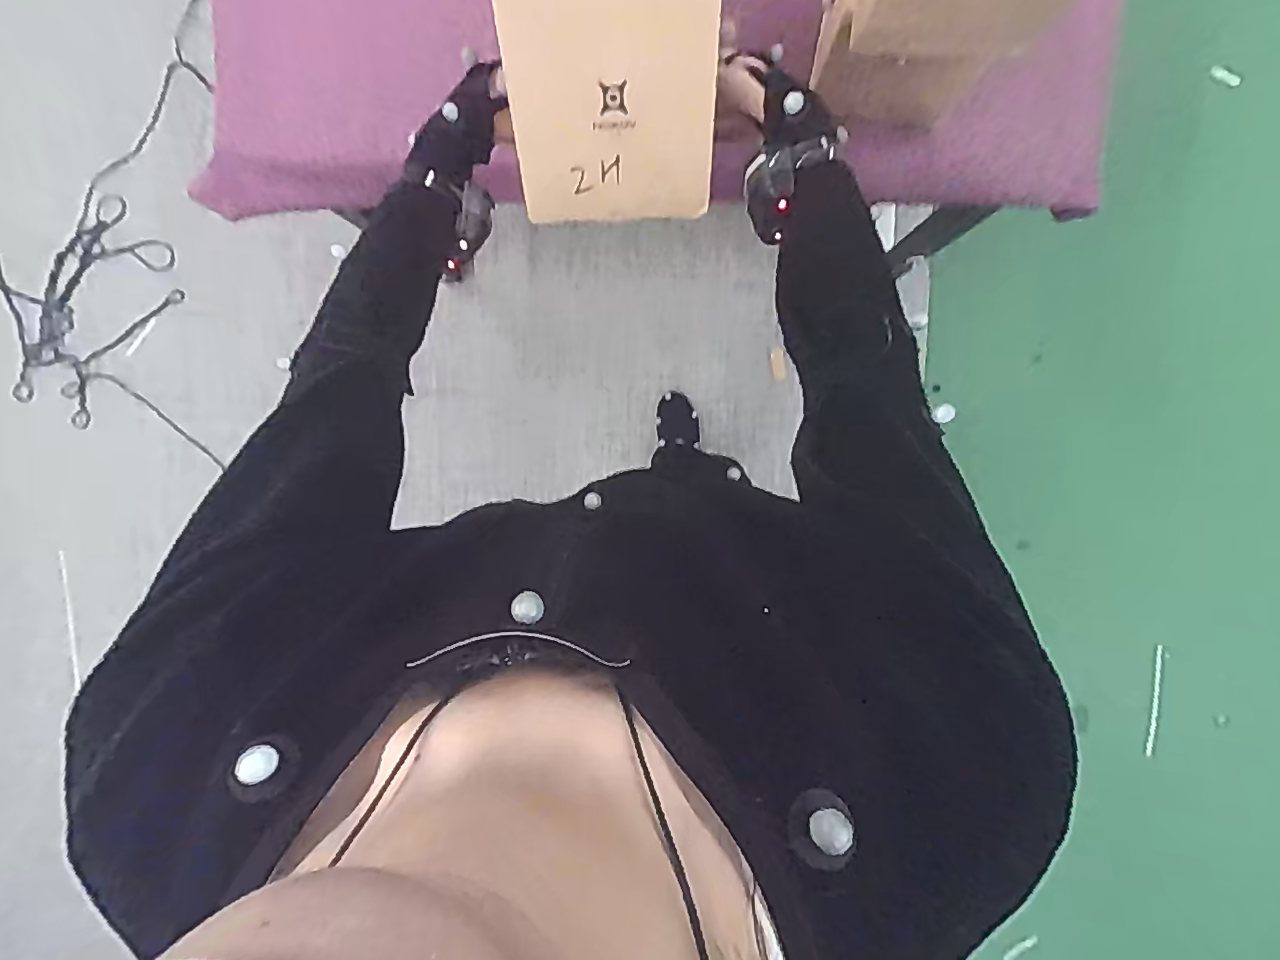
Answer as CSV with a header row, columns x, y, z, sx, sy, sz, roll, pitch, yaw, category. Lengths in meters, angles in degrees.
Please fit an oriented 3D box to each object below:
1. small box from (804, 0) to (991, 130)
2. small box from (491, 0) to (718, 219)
x,y,z,sx,sy,sz,roll,pitch,yaw,category
0.310,-0.545,0.630,0.179,0.176,0.168,11,94,4,small box
-0.028,-0.357,0.485,0.168,0.176,0.179,-1,137,0,small box
